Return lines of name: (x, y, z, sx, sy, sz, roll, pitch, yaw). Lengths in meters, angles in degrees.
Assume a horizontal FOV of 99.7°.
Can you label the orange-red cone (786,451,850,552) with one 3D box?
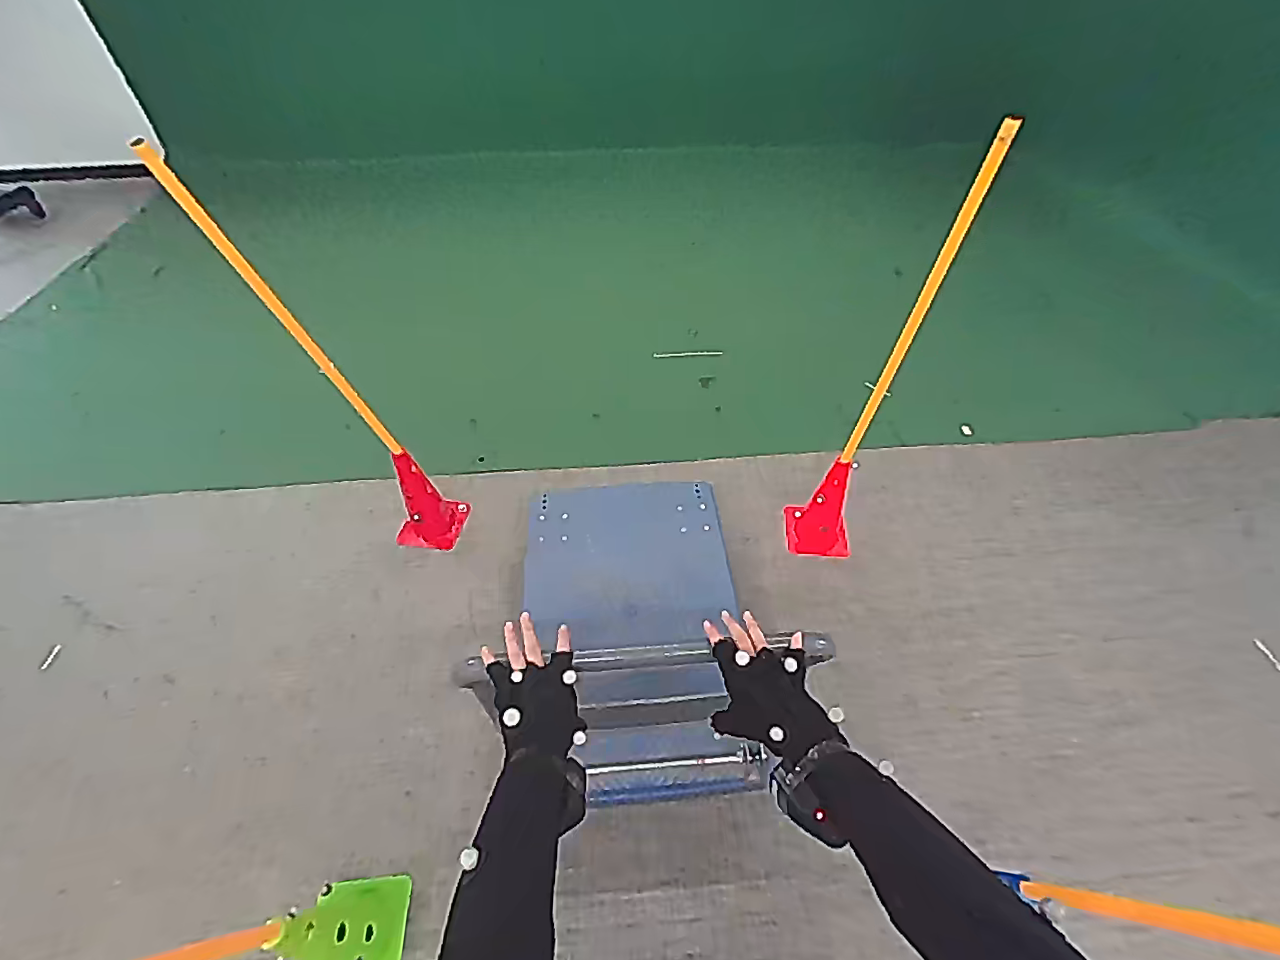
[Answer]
orange-red cone: (0.587, 0.044, 1.681, 0.198, 0.360, 0.199, 5, 50, 5)
